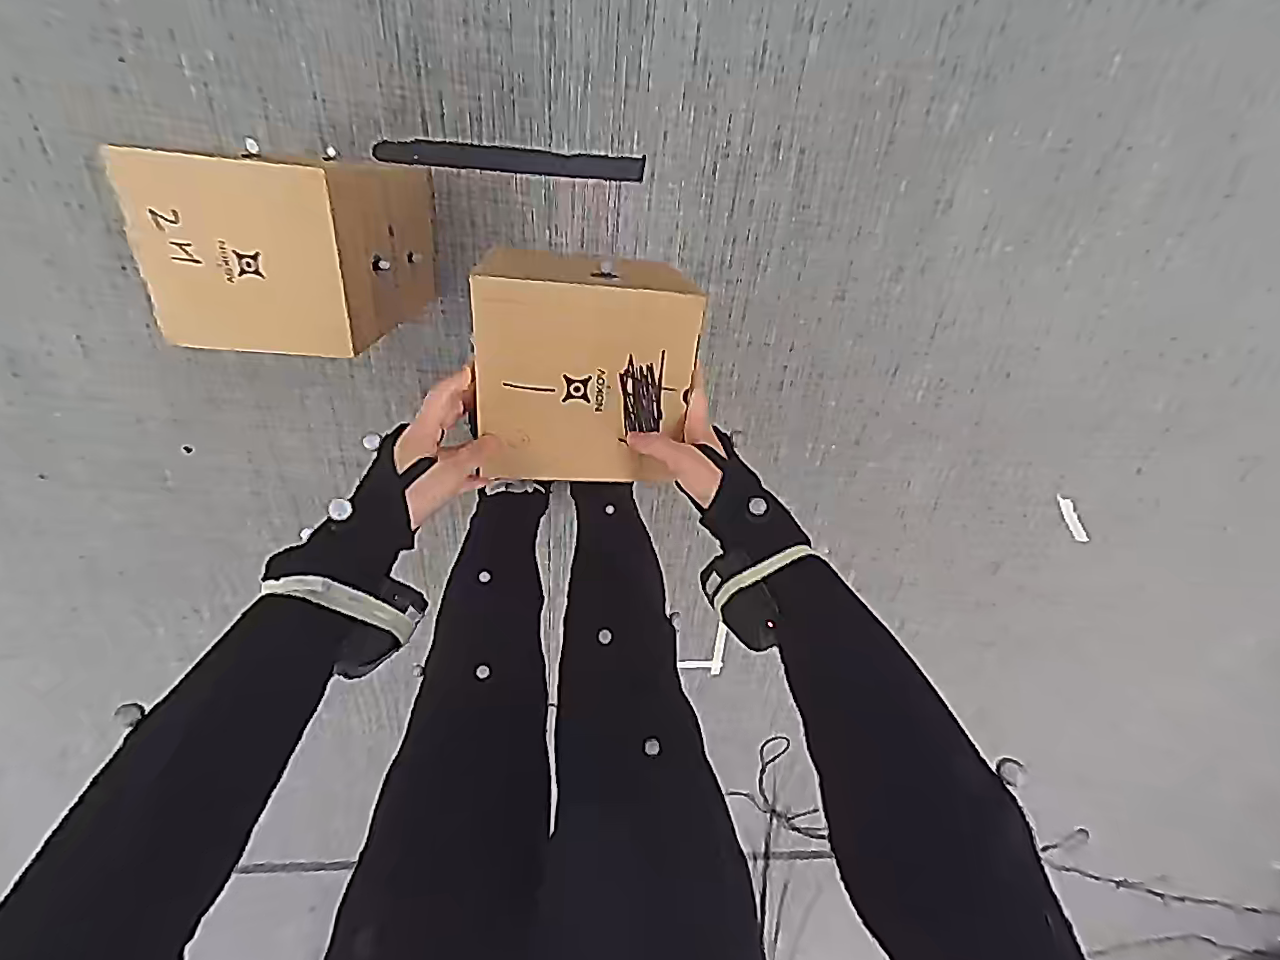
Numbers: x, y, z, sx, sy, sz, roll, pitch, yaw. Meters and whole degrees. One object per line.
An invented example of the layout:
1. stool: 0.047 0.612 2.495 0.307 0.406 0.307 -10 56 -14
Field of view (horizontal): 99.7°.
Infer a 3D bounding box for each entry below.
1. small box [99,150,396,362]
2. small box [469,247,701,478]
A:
1. small box: -0.363 -0.229 0.550 0.179 0.176 0.168 3 119 -6
2. small box: -0.057 -0.115 0.507 0.179 0.176 0.168 1 120 -9
